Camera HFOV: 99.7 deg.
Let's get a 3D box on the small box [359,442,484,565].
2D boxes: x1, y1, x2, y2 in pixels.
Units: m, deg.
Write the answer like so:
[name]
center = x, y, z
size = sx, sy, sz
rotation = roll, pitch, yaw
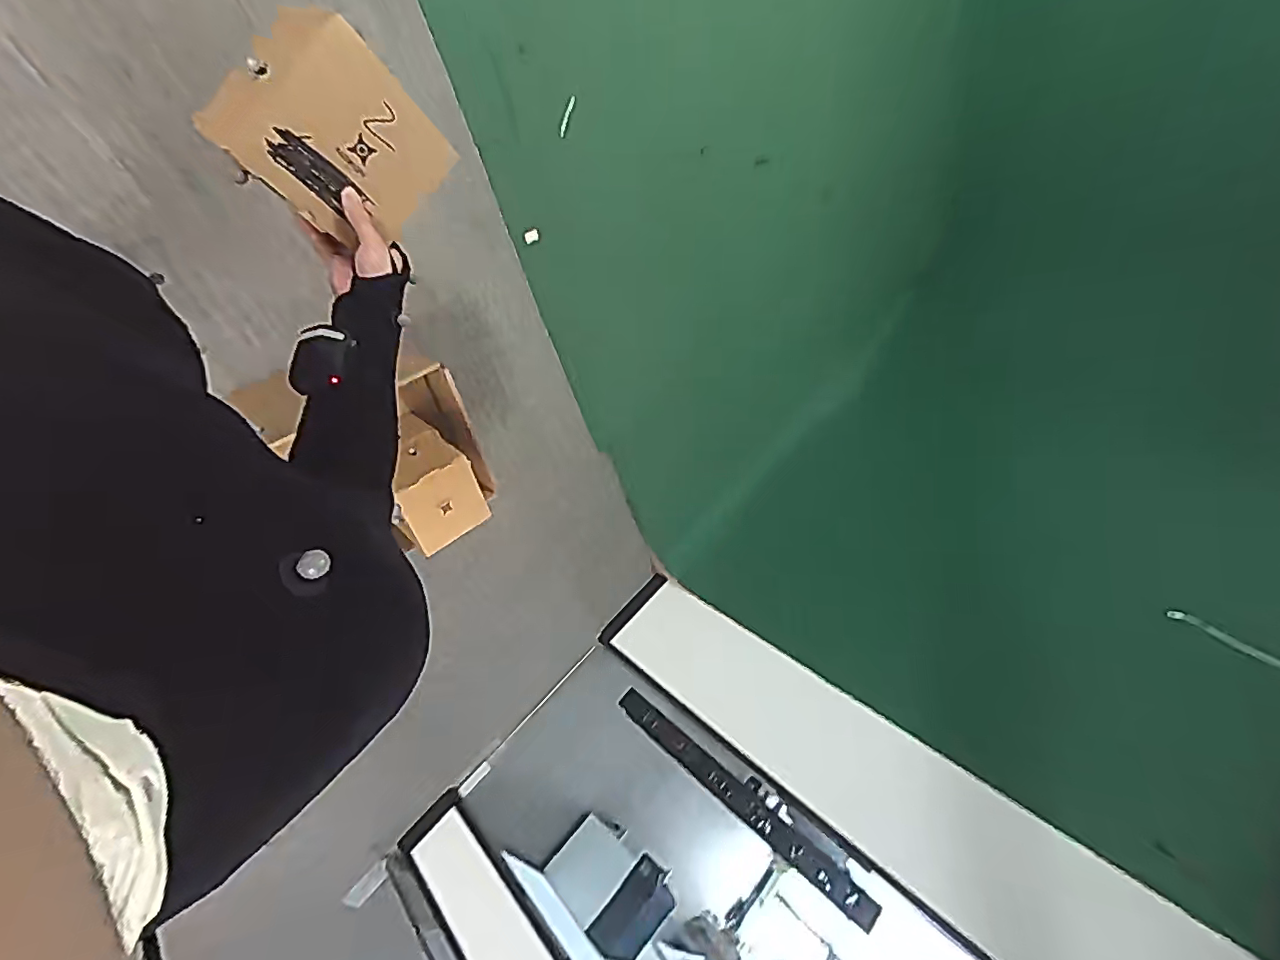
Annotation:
[small box]
center = -0.476, 0.046, 1.180
size = 0.168, 0.176, 0.179
rotation = -36, 134, -29
